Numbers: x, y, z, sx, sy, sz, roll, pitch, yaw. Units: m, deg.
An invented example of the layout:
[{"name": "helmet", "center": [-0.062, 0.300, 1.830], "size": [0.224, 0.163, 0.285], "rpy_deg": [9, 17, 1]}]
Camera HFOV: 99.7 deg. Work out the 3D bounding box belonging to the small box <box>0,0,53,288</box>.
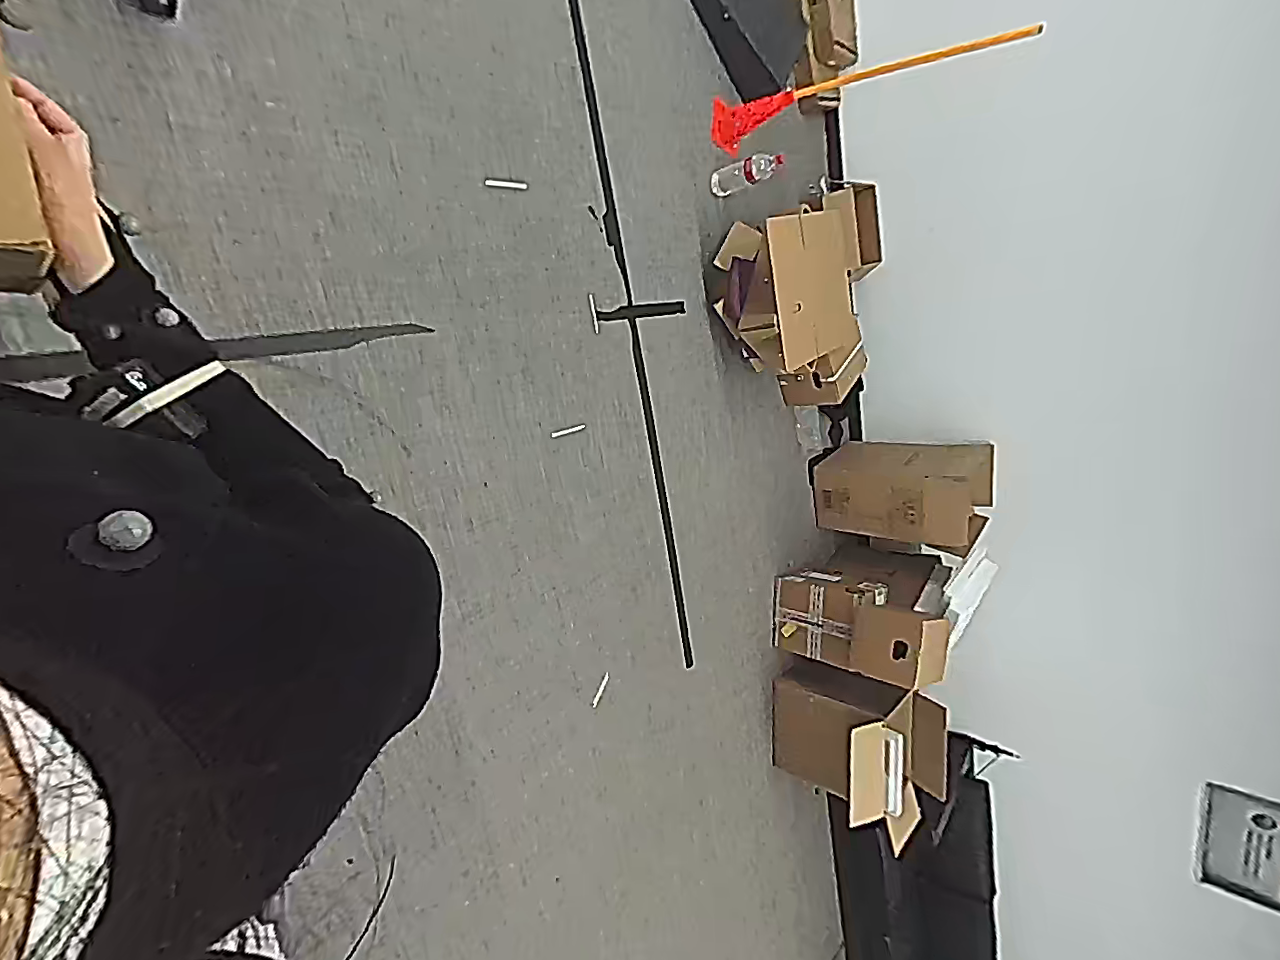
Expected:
[{"name": "small box", "center": [-0.419, -0.199, 0.253], "size": [0.168, 0.176, 0.179], "rpy_deg": [-15, 106, -48]}]
